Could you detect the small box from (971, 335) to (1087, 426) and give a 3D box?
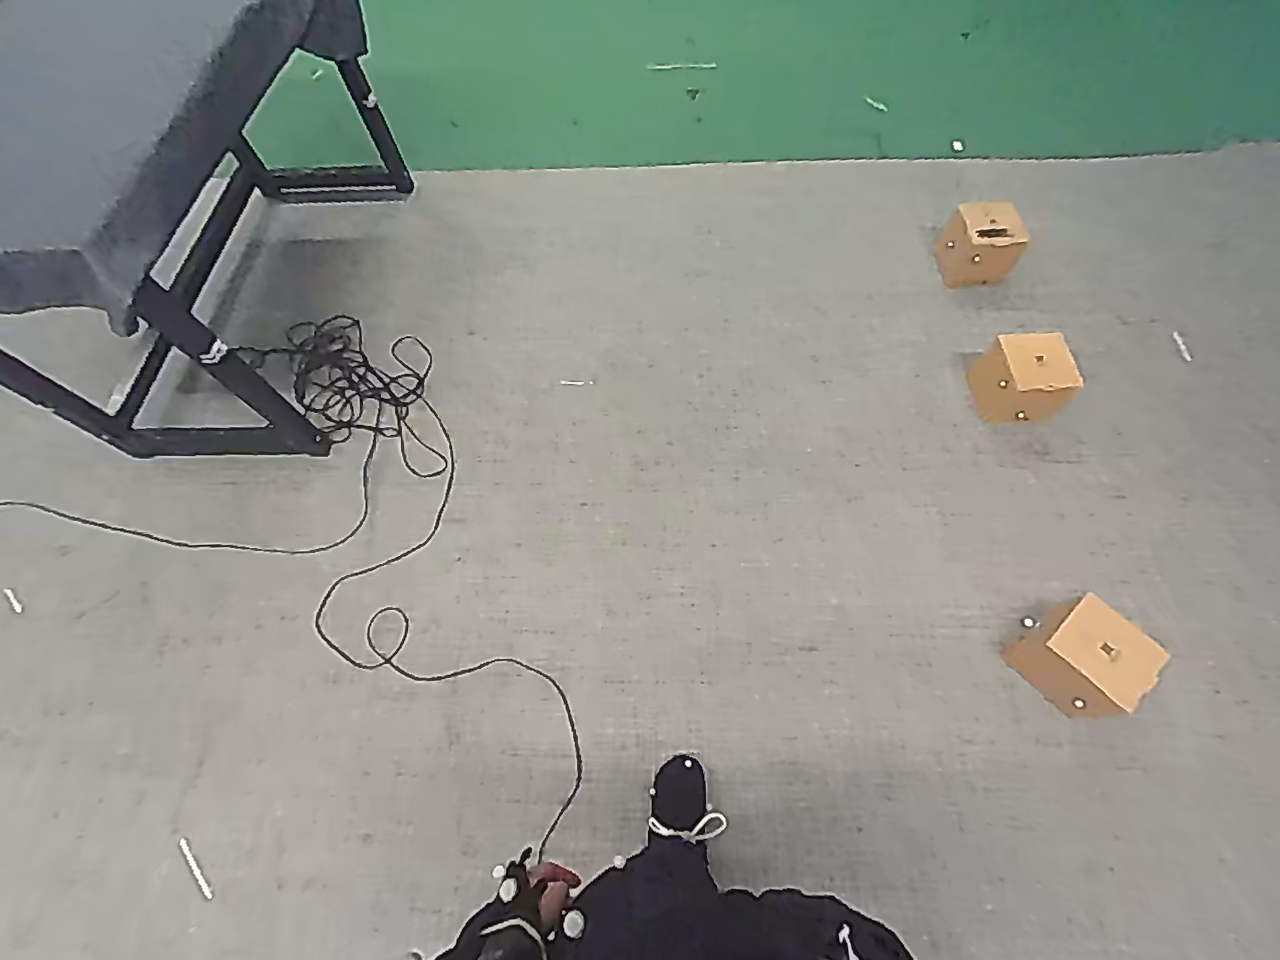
[{"bbox_3d":[1.019,-0.263,1.438,0.168,0.176,0.179,-2,64,2],"label":"small box"}]

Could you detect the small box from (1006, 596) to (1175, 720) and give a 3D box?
[{"bbox_3d":[0.925,0.376,1.128,0.168,0.176,0.179,-39,67,-17],"label":"small box"}]
